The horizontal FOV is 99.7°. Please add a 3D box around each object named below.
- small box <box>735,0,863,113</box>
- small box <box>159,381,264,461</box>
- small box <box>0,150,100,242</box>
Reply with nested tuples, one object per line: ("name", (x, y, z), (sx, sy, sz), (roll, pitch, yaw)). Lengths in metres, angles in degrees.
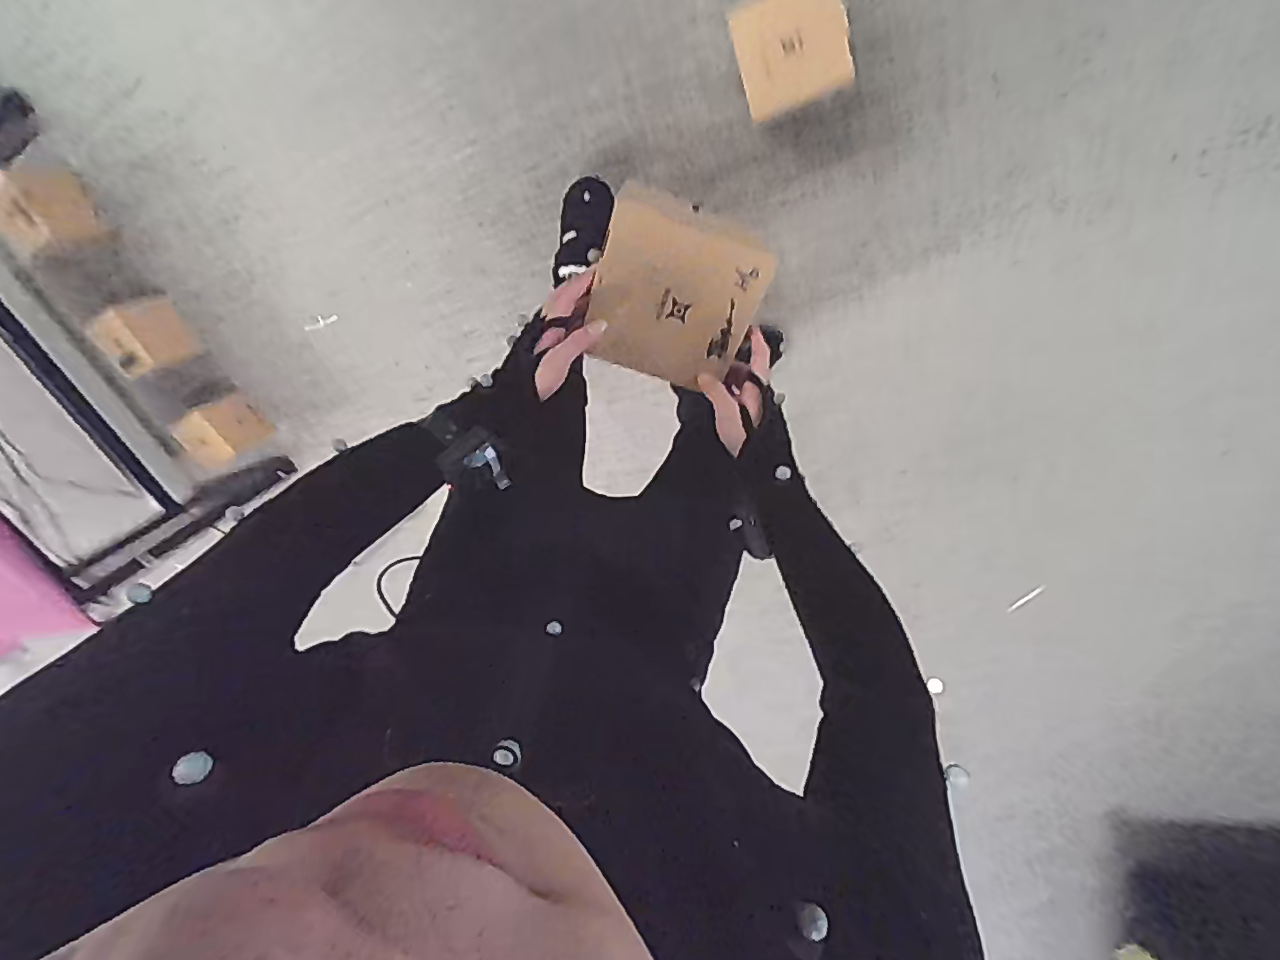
("small box", (0.274, -0.768, 0.942), (0.179, 0.176, 0.168), (-12, 116, 21))
("small box", (-1.348, -0.192, 1.717), (0.179, 0.176, 0.168), (-20, 114, 25))
("small box", (-1.614, -0.760, 1.439), (0.179, 0.176, 0.168), (-14, 116, 23))
